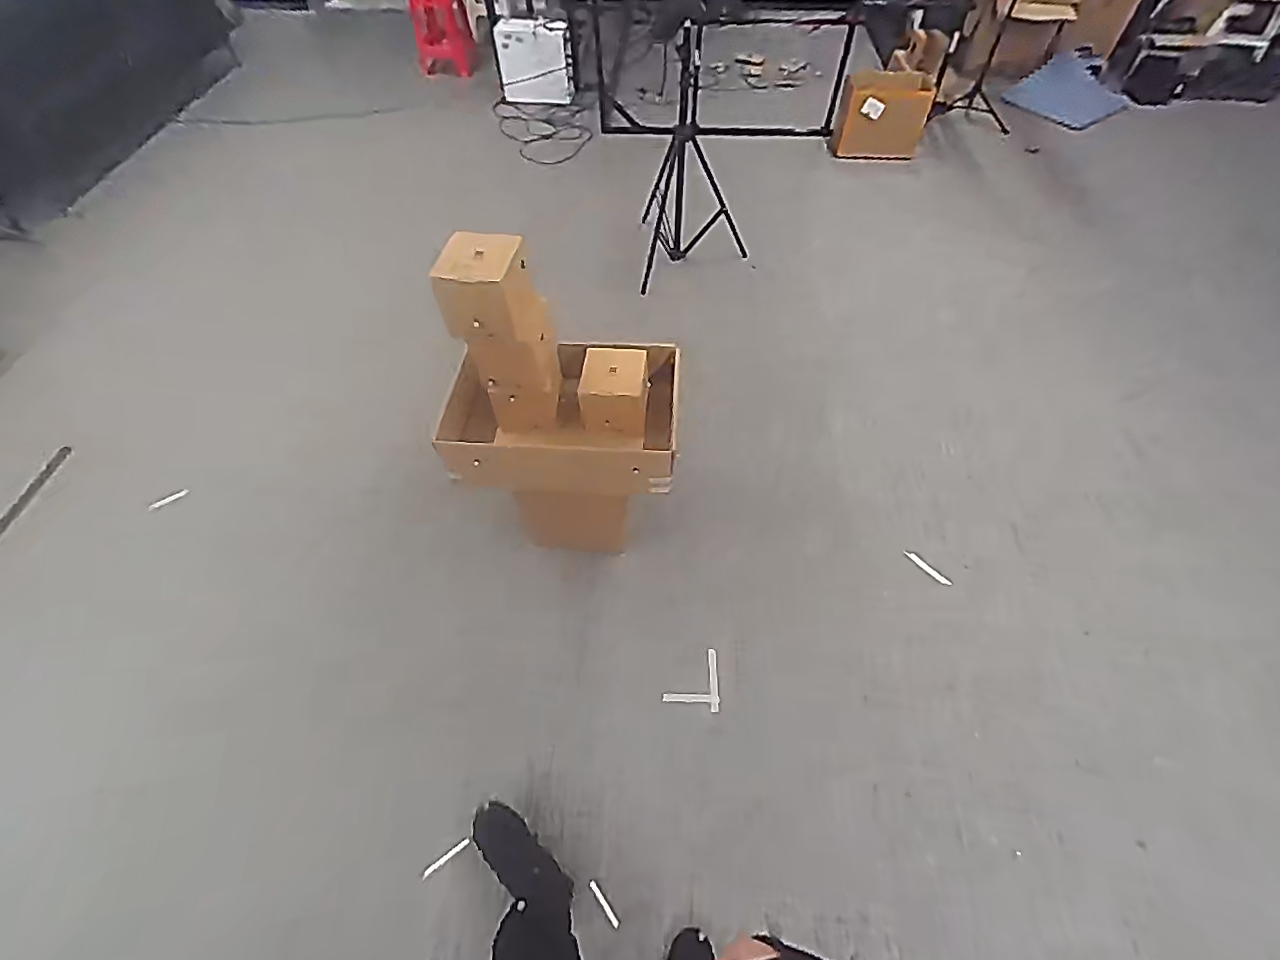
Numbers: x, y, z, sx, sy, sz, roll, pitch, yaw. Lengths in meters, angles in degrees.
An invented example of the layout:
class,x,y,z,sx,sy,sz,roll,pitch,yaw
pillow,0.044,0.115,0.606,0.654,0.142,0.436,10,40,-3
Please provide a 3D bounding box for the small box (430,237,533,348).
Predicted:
class,x,y,z,sx,sy,sz,roll,pitch,yaw
small box,-0.354,-0.432,1.250,0.168,0.176,0.179,7,56,6

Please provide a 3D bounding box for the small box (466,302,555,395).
class,x,y,z,sx,sy,sz,roll,pitch,yaw
small box,-0.321,-0.337,1.384,0.168,0.176,0.179,6,55,5

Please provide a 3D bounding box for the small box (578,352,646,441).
class,x,y,z,sx,sy,sz,roll,pitch,yaw
small box,-0.071,-0.231,1.506,0.168,0.176,0.179,3,56,4

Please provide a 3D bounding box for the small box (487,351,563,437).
class,x,y,z,sx,sy,sz,roll,pitch,yaw
small box,-0.314,-0.242,1.517,0.168,0.176,0.179,0,54,2
